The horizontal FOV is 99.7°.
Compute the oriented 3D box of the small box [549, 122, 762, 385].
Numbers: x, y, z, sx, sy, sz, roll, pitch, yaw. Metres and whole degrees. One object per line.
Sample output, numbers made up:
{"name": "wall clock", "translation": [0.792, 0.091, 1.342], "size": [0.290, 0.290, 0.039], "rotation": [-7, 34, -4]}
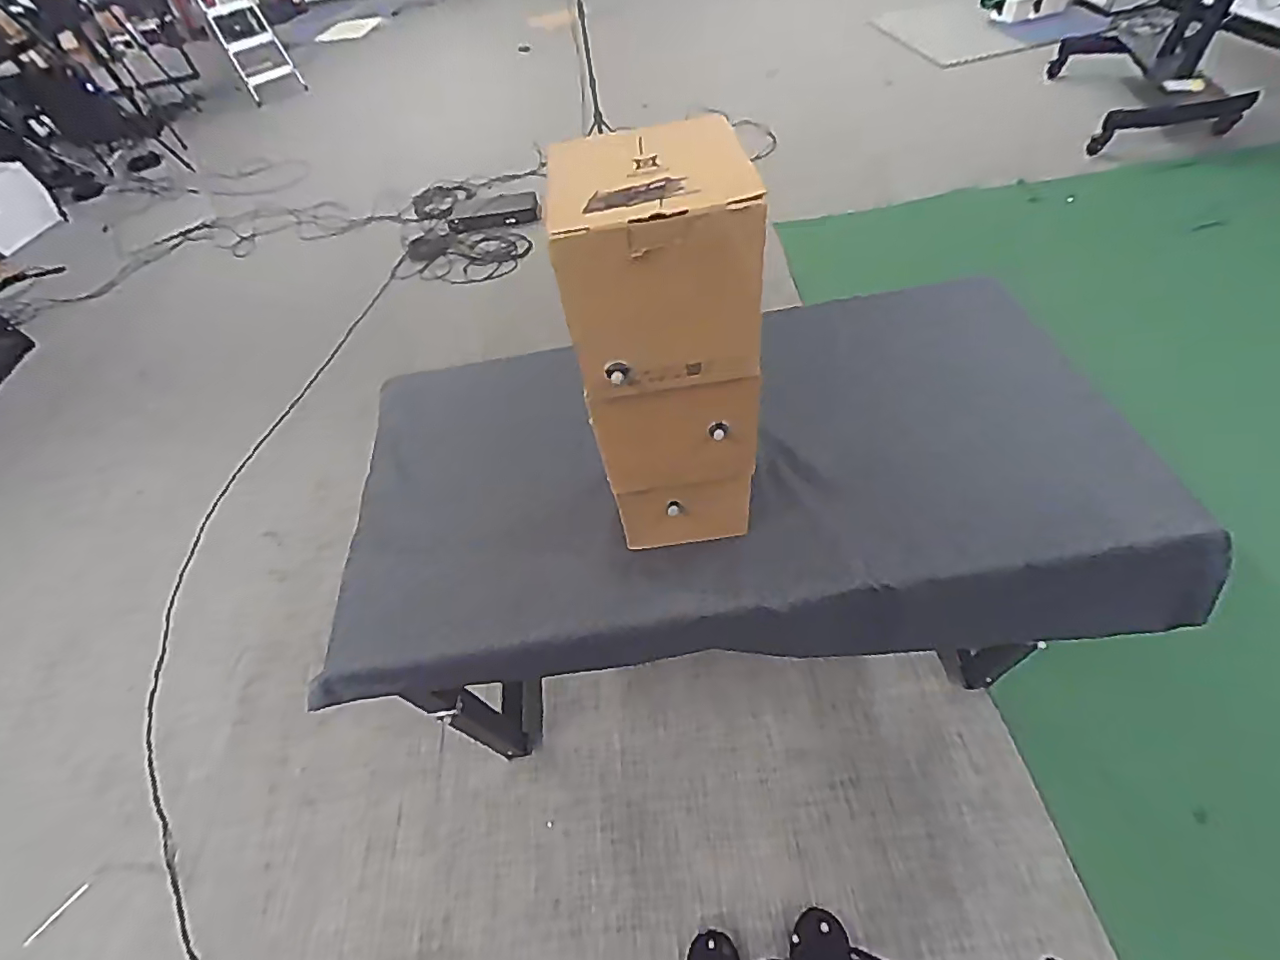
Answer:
{"name": "small box", "translation": [0.015, -0.204, 0.514], "size": [0.168, 0.176, 0.179], "rotation": [-8, 51, 2]}

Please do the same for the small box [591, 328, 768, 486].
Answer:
{"name": "small box", "translation": [0.036, -0.115, 0.631], "size": [0.179, 0.176, 0.168], "rotation": [-10, 52, 0]}

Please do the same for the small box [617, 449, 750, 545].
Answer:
{"name": "small box", "translation": [0.054, -0.022, 0.787], "size": [0.179, 0.176, 0.168], "rotation": [-10, 51, 0]}
